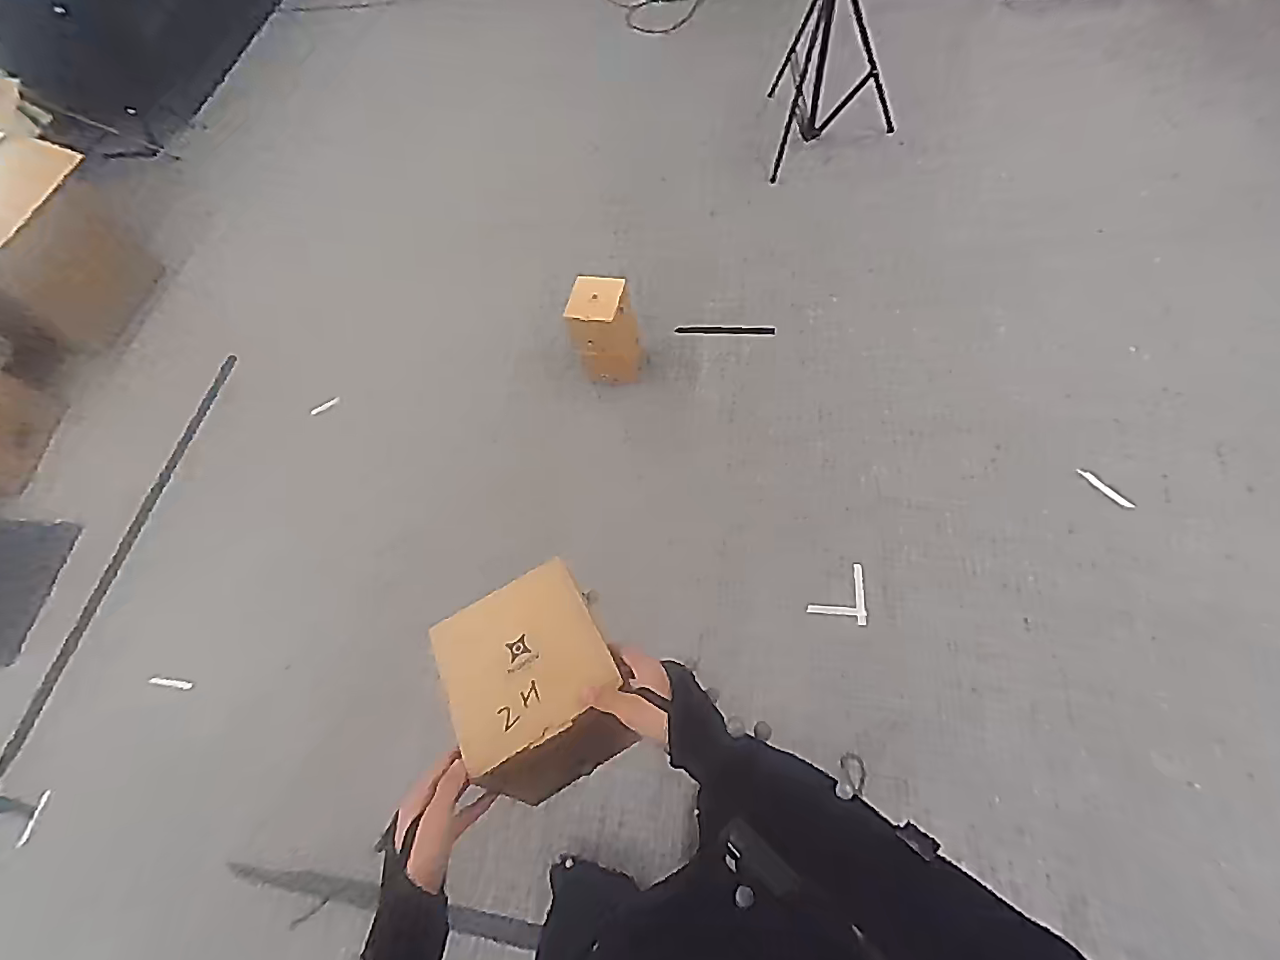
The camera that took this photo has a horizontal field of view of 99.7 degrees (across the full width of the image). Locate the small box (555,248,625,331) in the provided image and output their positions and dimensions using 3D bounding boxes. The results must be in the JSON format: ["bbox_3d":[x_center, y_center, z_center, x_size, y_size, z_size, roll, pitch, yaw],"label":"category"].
[{"bbox_3d":[-0.151,-0.602,1.715,0.168,0.176,0.179,9,67,12],"label":"small box"}]

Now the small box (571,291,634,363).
[{"bbox_3d":[-0.122,-0.528,1.856,0.168,0.176,0.179,7,66,11],"label":"small box"}]
